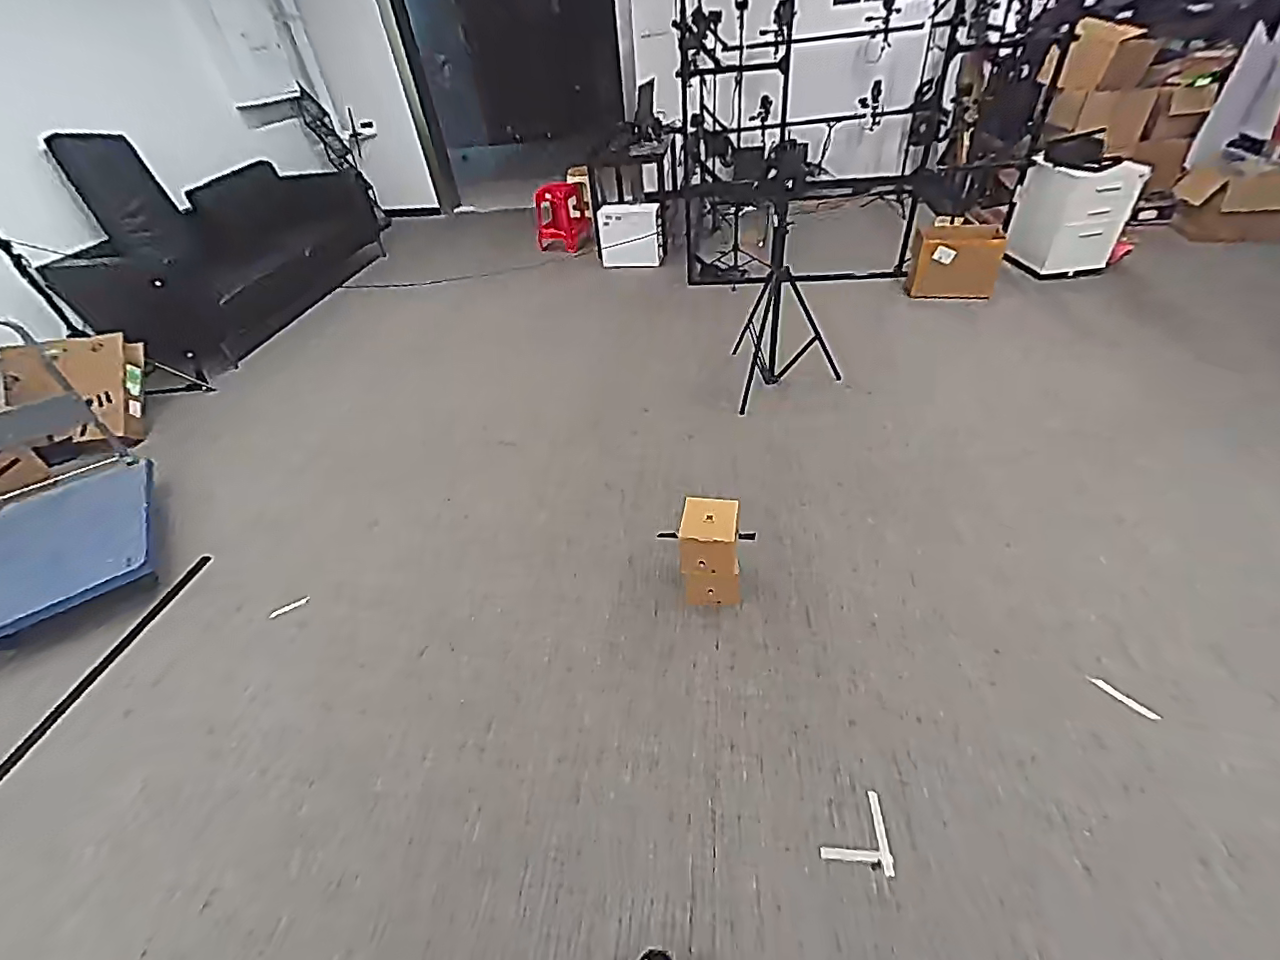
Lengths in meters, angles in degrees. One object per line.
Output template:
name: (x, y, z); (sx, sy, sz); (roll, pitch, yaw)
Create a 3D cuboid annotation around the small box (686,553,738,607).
small box: (0.241, 0.305, 1.793); (0.168, 0.176, 0.179); (0, 40, 7)

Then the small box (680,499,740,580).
small box: (0.219, 0.184, 1.686); (0.168, 0.176, 0.179); (4, 42, 13)
